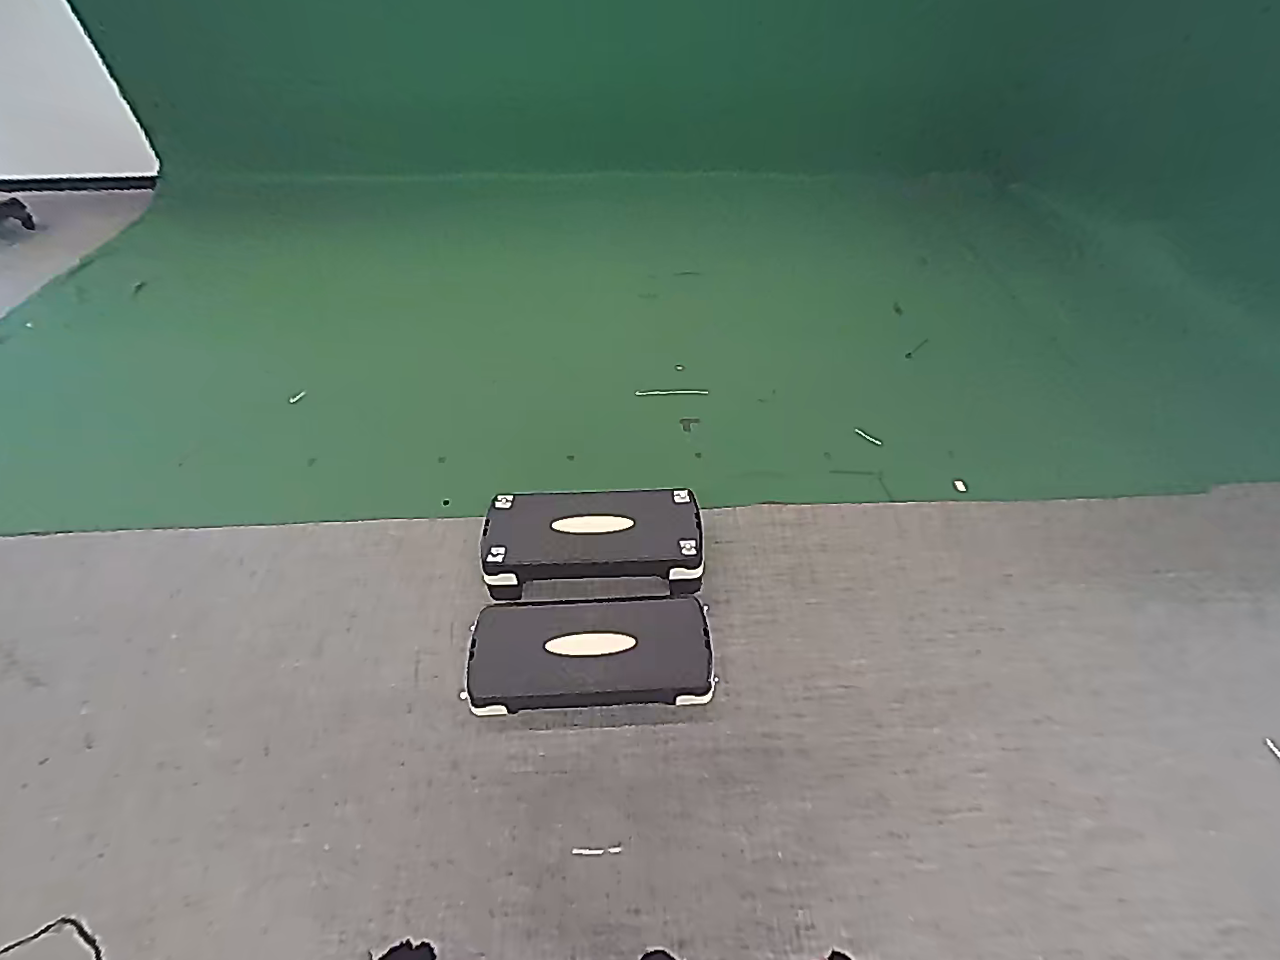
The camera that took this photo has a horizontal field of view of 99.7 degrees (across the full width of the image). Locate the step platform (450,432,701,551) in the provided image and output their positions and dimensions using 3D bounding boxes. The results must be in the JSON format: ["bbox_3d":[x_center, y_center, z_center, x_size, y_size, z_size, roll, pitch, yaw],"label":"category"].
[{"bbox_3d":[-0.174,0.034,1.565,0.684,0.204,0.286,-2,49,-1],"label":"step platform"}]
